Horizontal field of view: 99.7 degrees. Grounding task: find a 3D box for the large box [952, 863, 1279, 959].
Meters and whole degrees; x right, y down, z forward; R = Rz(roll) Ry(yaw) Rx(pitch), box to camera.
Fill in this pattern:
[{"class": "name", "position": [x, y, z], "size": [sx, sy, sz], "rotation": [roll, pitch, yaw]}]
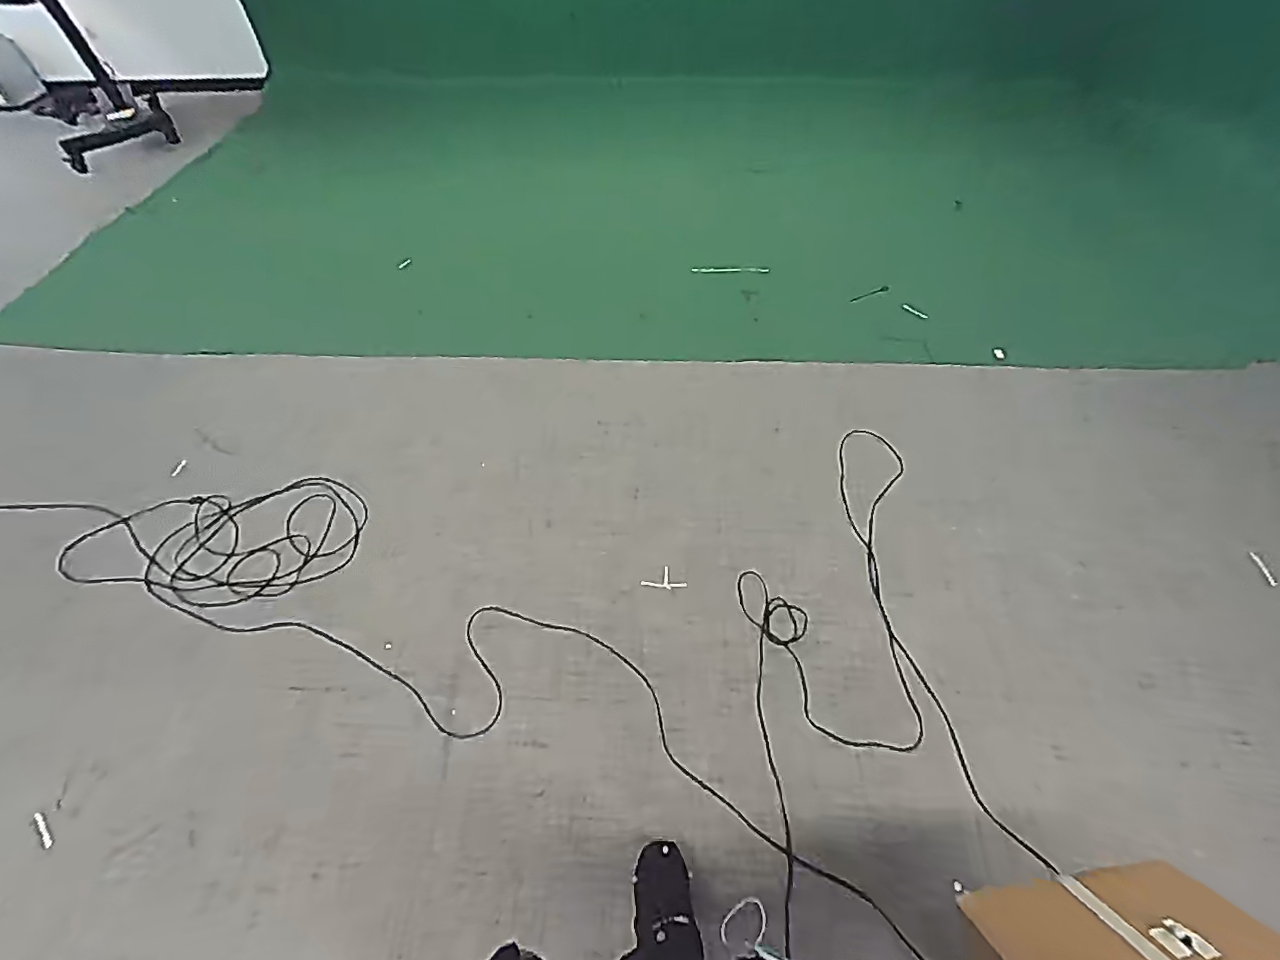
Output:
[{"class": "large box", "position": [0.621, 0.706, 0.570], "size": [0.320, 0.408, 0.320], "rotation": [-9, 84, 2]}]
